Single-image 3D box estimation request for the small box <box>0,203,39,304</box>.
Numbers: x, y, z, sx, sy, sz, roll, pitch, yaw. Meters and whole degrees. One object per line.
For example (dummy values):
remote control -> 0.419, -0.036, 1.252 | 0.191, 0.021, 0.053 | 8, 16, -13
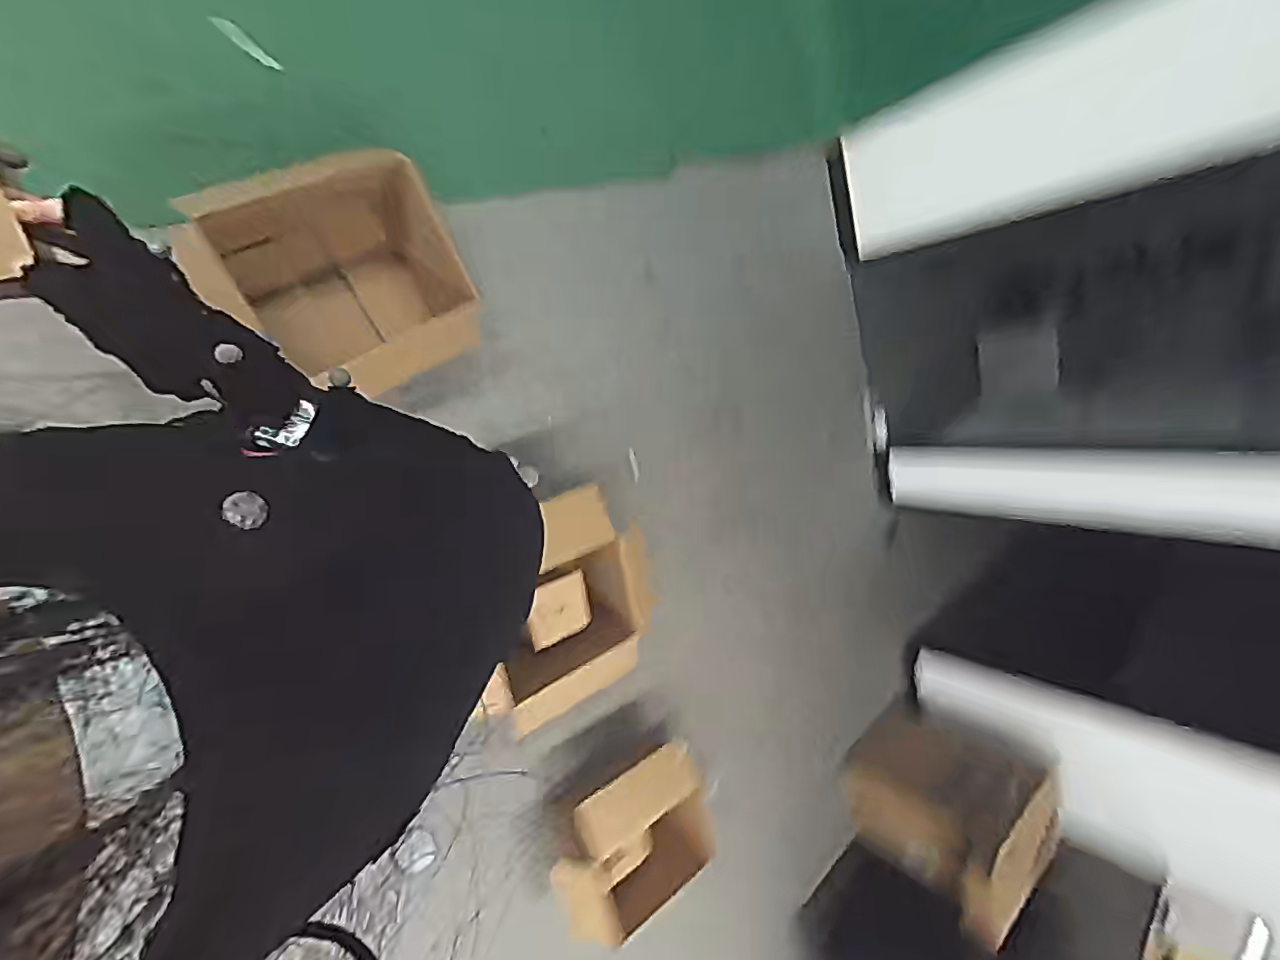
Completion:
small box -> -0.523, -0.192, 0.325 | 0.168, 0.176, 0.179 | -27, 119, -36
